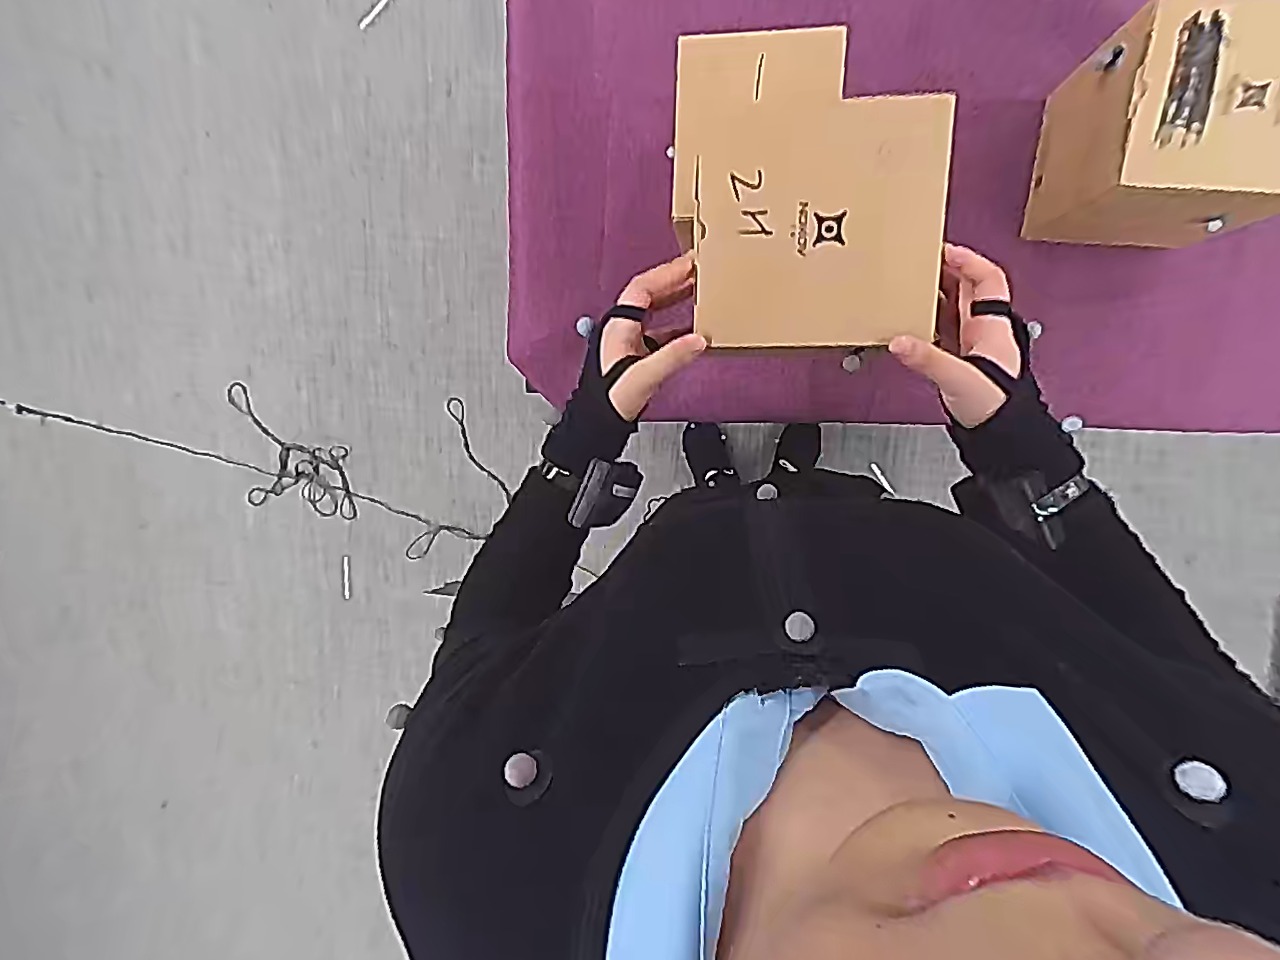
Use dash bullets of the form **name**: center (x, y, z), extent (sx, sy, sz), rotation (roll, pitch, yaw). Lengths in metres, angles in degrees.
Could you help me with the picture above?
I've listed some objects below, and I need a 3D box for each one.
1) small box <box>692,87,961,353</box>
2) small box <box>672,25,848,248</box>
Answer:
- **small box**: center (0.134, -0.198, 0.458), extent (0.179, 0.176, 0.168), rotation (1, 100, 6)
- **small box**: center (0.129, -0.369, 0.622), extent (0.168, 0.176, 0.179), rotation (3, 98, 8)
